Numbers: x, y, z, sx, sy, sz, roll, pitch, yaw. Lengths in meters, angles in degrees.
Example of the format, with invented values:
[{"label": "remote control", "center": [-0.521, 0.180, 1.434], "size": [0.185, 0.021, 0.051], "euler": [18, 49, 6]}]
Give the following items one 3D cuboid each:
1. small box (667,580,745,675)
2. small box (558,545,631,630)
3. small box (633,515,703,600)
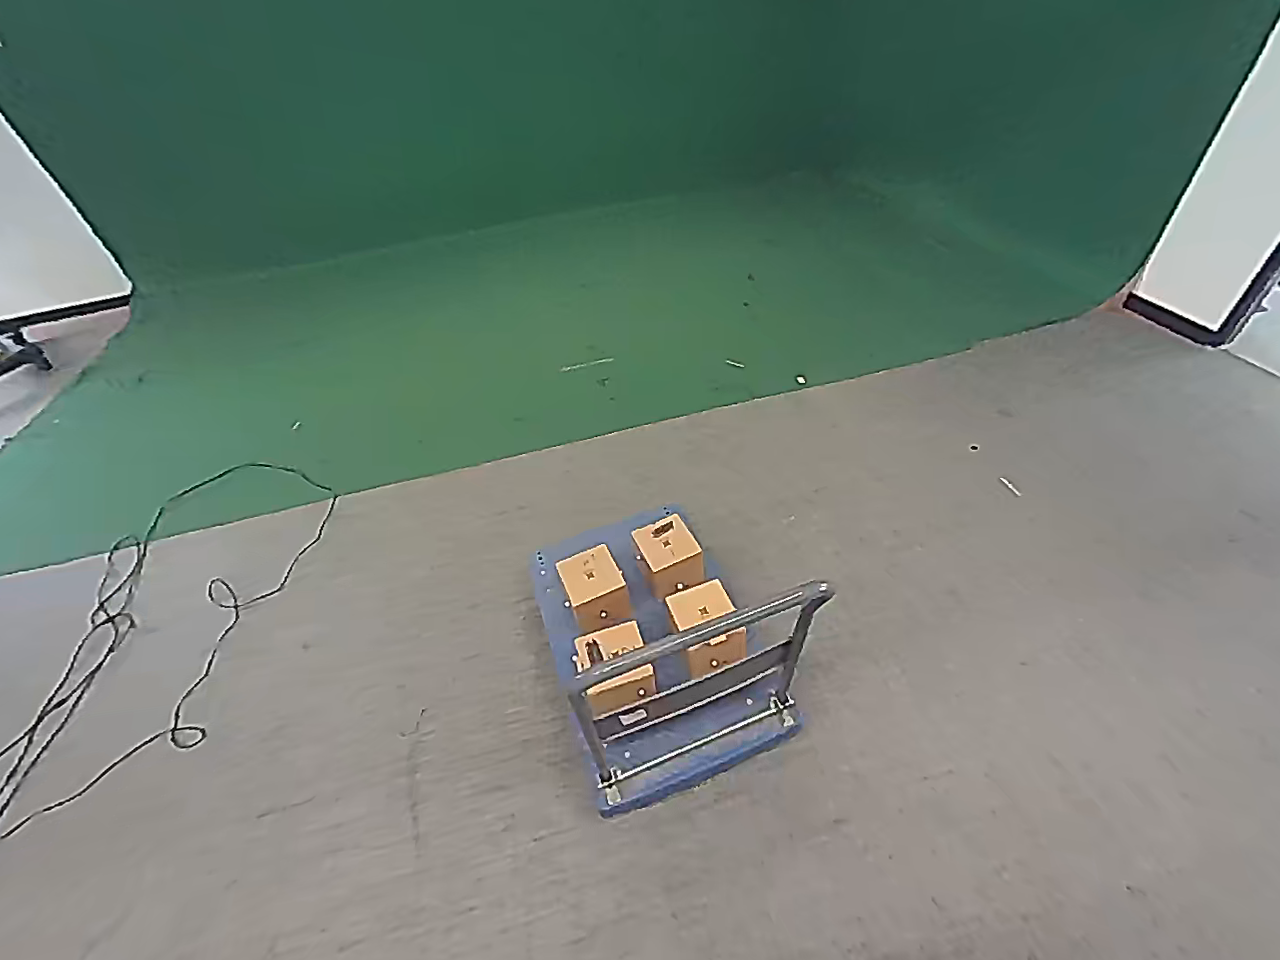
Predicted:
[{"label": "small box", "center": [0.185, 0.422, 1.545], "size": [0.168, 0.176, 0.179], "euler": [-18, 46, -10]}, {"label": "small box", "center": [-0.137, 0.340, 1.674], "size": [0.168, 0.176, 0.179], "euler": [-21, 46, -13]}, {"label": "small box", "center": [0.091, 0.250, 1.731], "size": [0.168, 0.176, 0.179], "euler": [-22, 47, -12]}]
